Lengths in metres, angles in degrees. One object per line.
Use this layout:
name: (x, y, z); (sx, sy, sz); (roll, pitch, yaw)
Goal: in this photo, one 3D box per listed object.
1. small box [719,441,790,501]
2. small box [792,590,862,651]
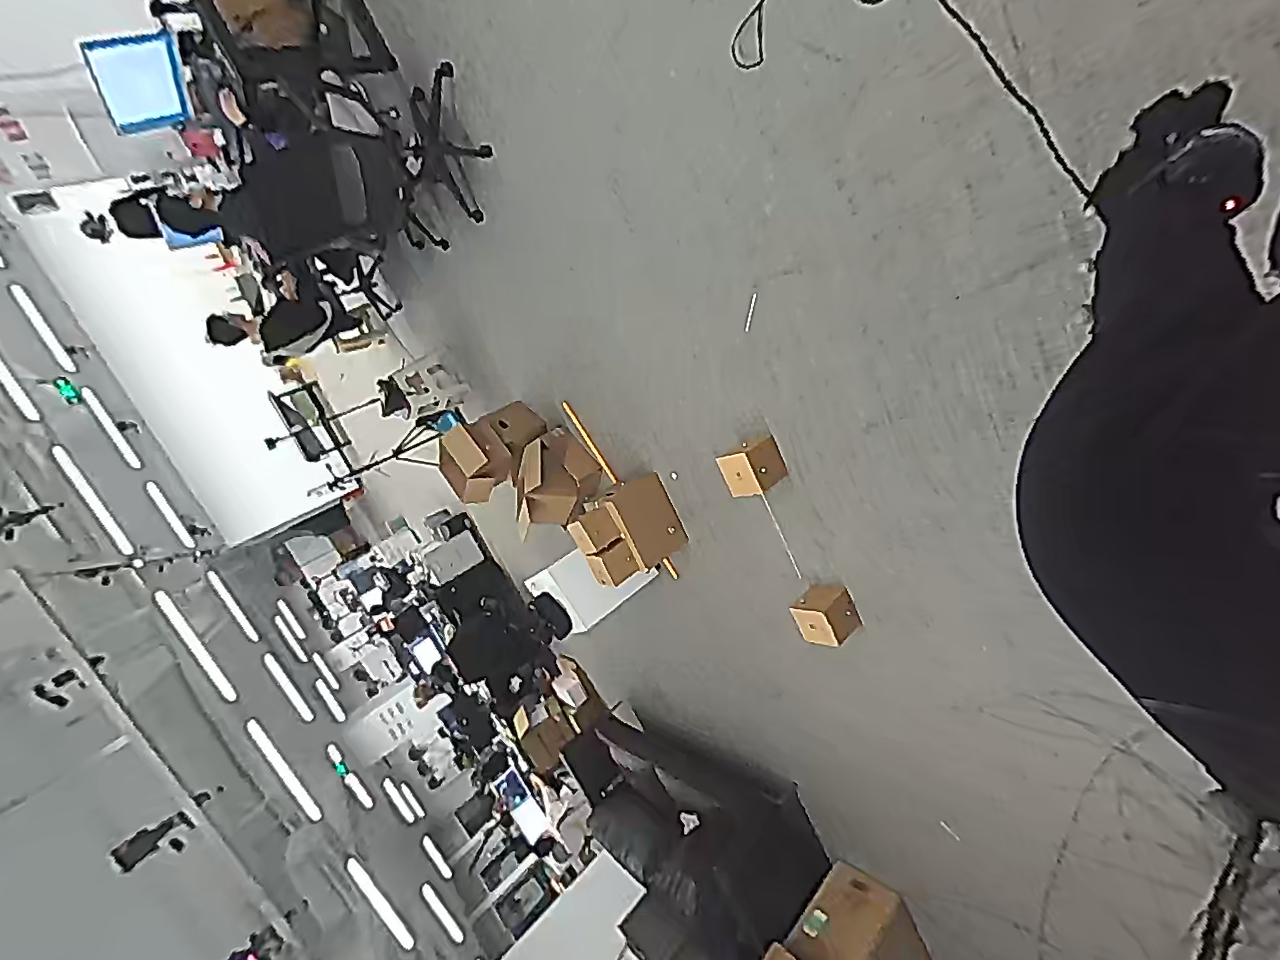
small box: (0.442, -0.037, 2.085); (0.168, 0.176, 0.179); (-12, 108, 57)
small box: (0.758, 0.563, 2.187); (0.179, 0.176, 0.168); (-12, 108, 58)
